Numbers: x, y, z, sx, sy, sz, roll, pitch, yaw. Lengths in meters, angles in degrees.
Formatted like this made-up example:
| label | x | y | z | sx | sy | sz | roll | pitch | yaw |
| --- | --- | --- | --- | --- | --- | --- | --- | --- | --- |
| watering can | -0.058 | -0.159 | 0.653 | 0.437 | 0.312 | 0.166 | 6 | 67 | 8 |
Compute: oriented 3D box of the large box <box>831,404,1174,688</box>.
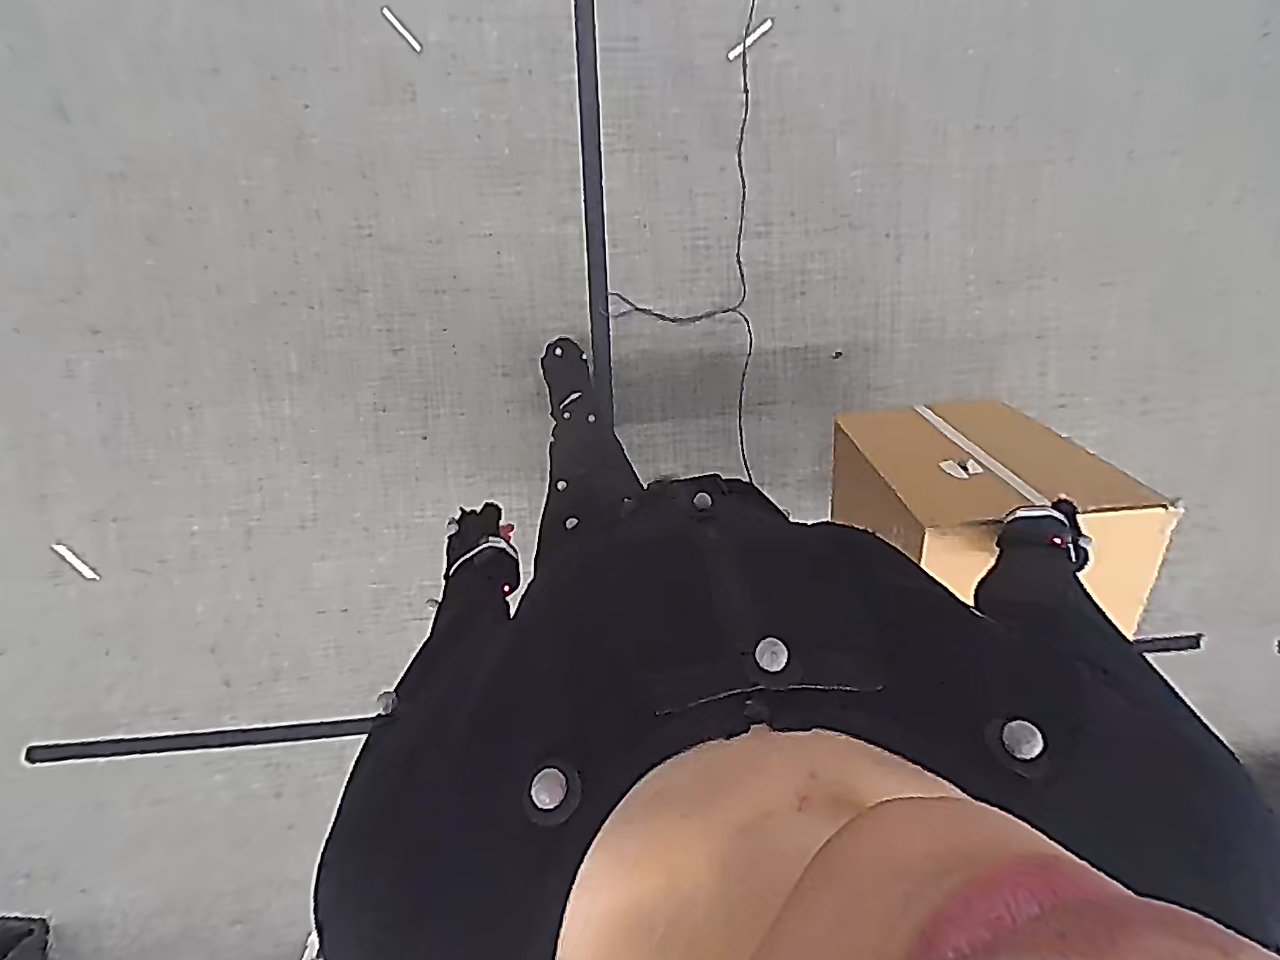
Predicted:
| label | x | y | z | sx | sy | sz | roll | pitch | yaw |
| --- | --- | --- | --- | --- | --- | --- | --- | --- | --- |
| large box | 0.552 | 0.091 | 0.944 | 0.320 | 0.408 | 0.320 | -6 | 118 | 4 |
